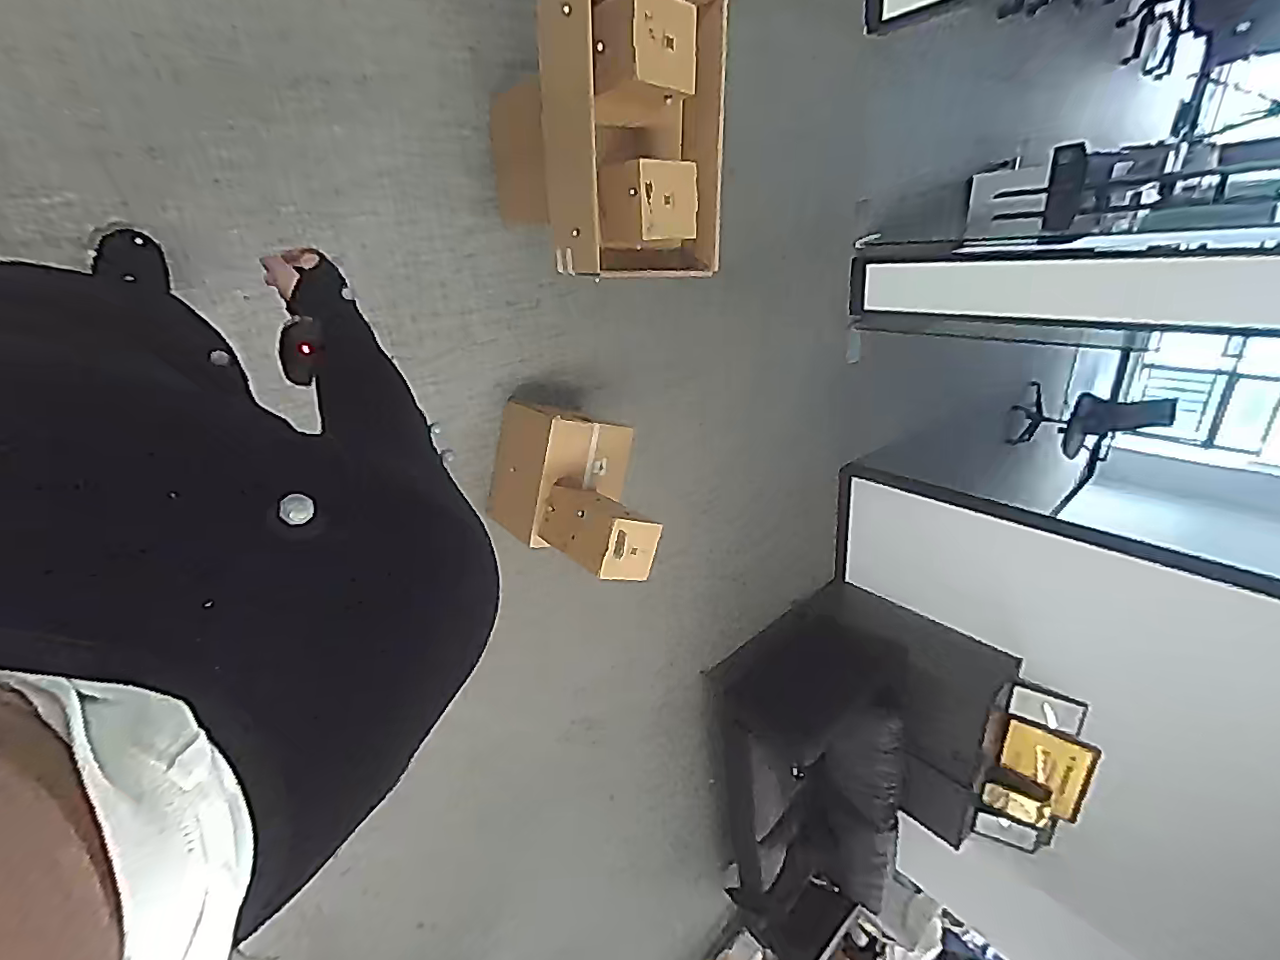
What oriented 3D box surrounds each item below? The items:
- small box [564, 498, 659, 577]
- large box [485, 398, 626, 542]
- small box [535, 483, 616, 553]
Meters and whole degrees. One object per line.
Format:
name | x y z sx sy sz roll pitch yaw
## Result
small box | -0.084 0.156 1.490 0.179 0.176 0.168 12 98 -43
large box | -0.290 -0.036 1.800 0.320 0.320 0.408 2 104 -43
small box | -0.182 0.115 1.614 0.179 0.176 0.168 12 98 -42
